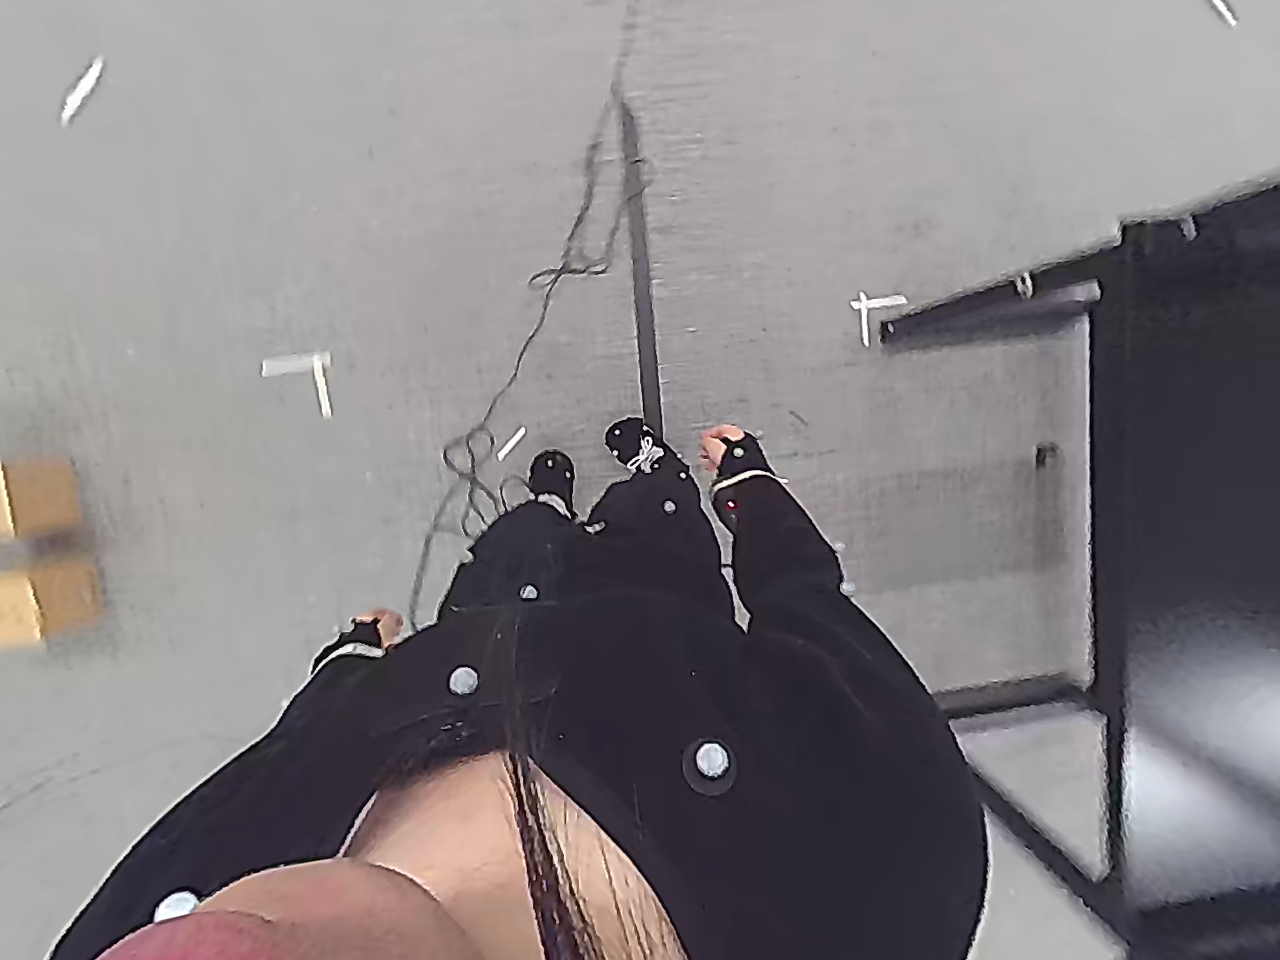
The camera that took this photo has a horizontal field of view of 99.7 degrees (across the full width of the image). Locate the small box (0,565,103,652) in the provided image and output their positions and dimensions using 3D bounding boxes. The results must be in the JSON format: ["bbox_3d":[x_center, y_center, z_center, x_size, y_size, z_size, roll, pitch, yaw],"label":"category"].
[{"bbox_3d":[-1.505,0.315,1.339,0.179,0.176,0.168,-4,97,-4],"label":"small box"}]
